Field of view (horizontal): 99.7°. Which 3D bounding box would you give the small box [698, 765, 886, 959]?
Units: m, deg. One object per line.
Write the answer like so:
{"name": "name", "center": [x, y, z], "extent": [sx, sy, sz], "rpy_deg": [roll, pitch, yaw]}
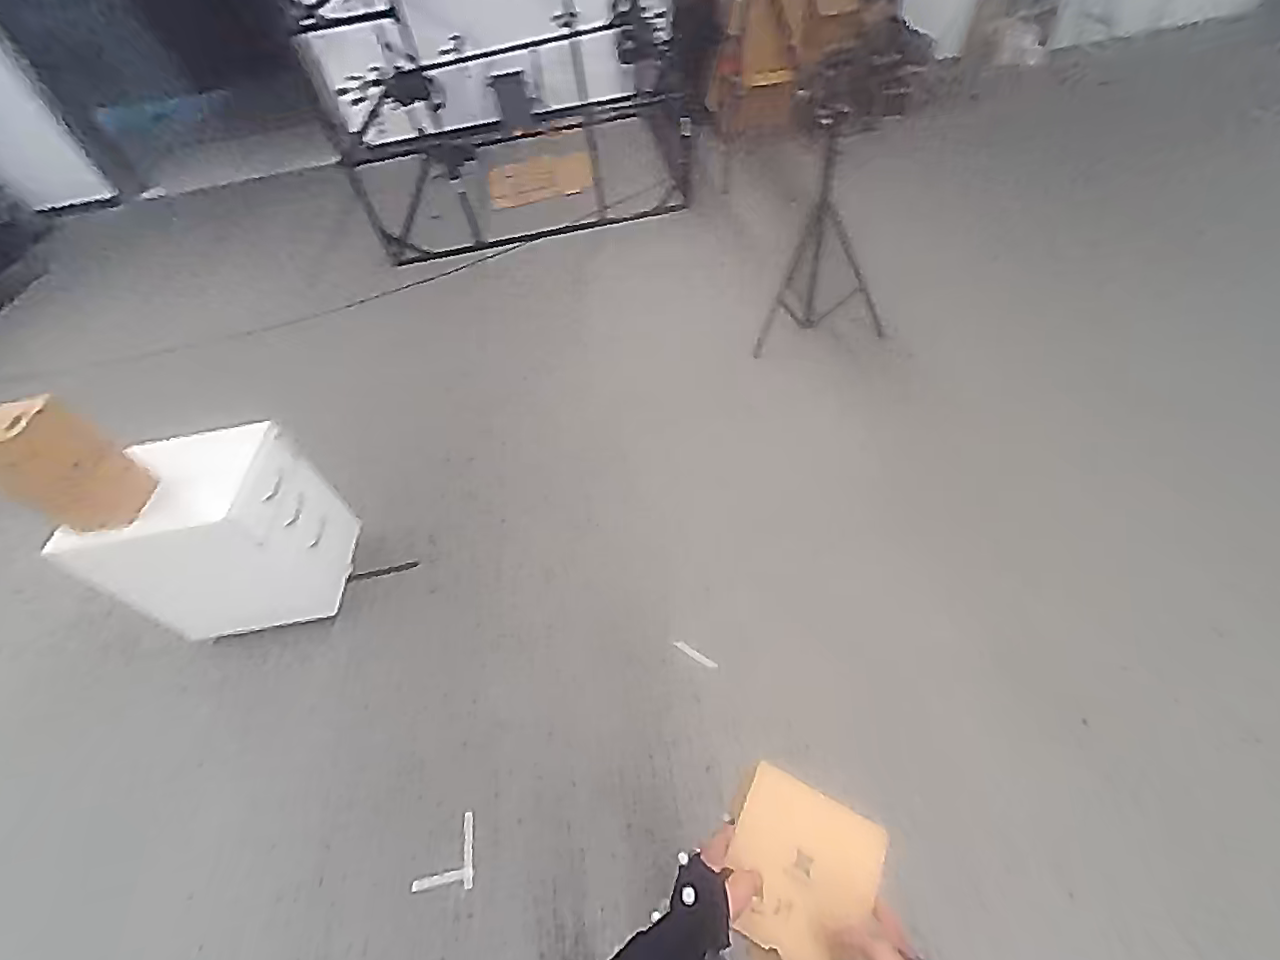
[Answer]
{"name": "small box", "center": [0.181, 0.497, 0.682], "extent": [0.168, 0.176, 0.179], "rpy_deg": [23, 58, 17]}

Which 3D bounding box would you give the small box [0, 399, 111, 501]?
{"name": "small box", "center": [-1.499, -0.072, 1.346], "extent": [0.179, 0.176, 0.168], "rpy_deg": [-14, 47, 0]}

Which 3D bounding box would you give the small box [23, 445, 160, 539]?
{"name": "small box", "center": [-1.472, 0.034, 1.469], "extent": [0.168, 0.176, 0.179], "rpy_deg": [-10, 48, 2]}
